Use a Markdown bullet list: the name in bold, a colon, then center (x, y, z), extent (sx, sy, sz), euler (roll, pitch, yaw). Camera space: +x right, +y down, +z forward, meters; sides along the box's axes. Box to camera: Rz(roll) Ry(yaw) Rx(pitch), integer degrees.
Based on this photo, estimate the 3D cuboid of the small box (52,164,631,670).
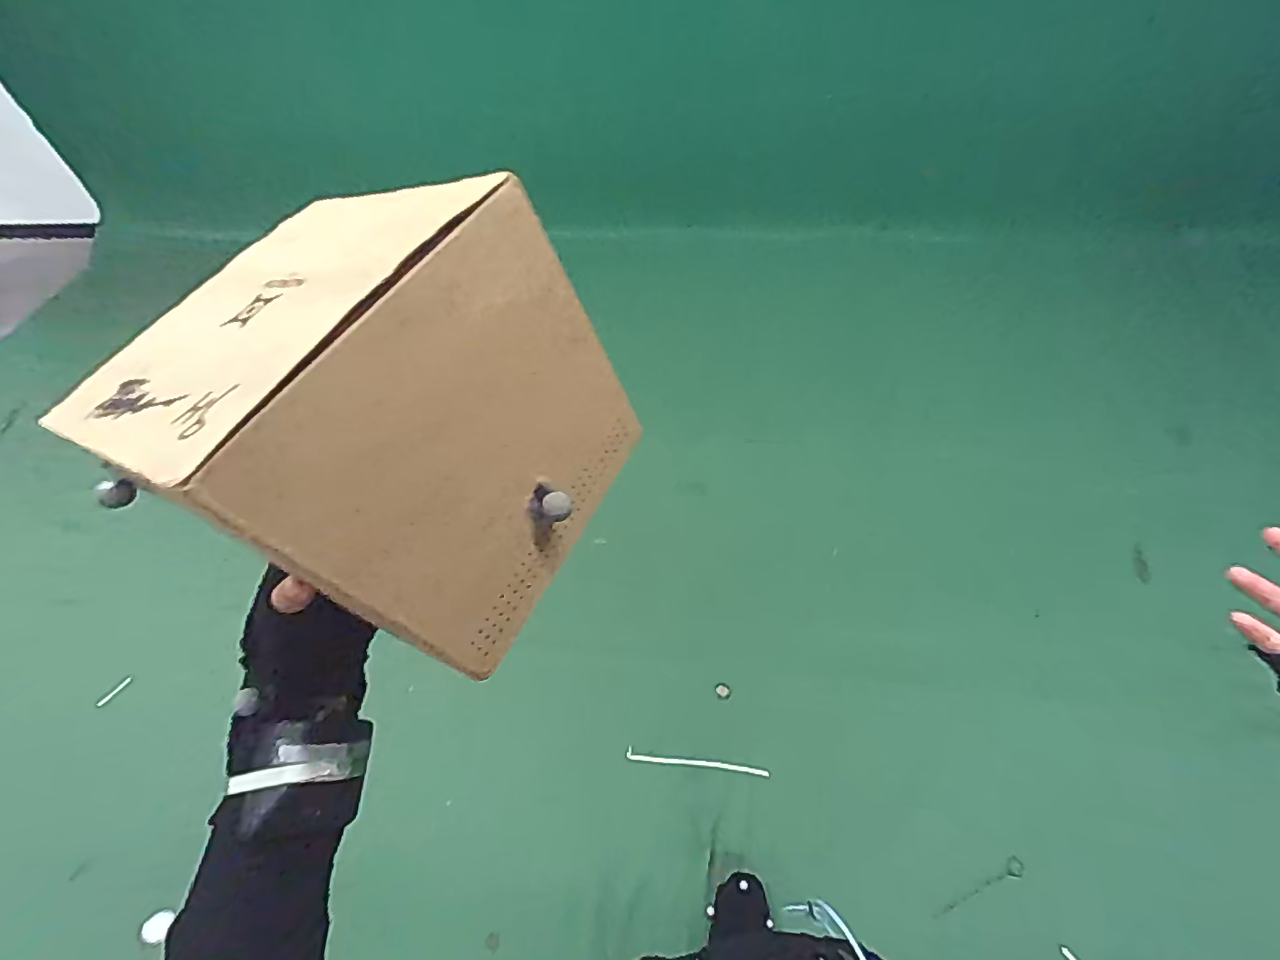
- **small box**: center (-0.124, -0.032, 0.288), extent (0.168, 0.176, 0.179), euler (13, 58, 33)
